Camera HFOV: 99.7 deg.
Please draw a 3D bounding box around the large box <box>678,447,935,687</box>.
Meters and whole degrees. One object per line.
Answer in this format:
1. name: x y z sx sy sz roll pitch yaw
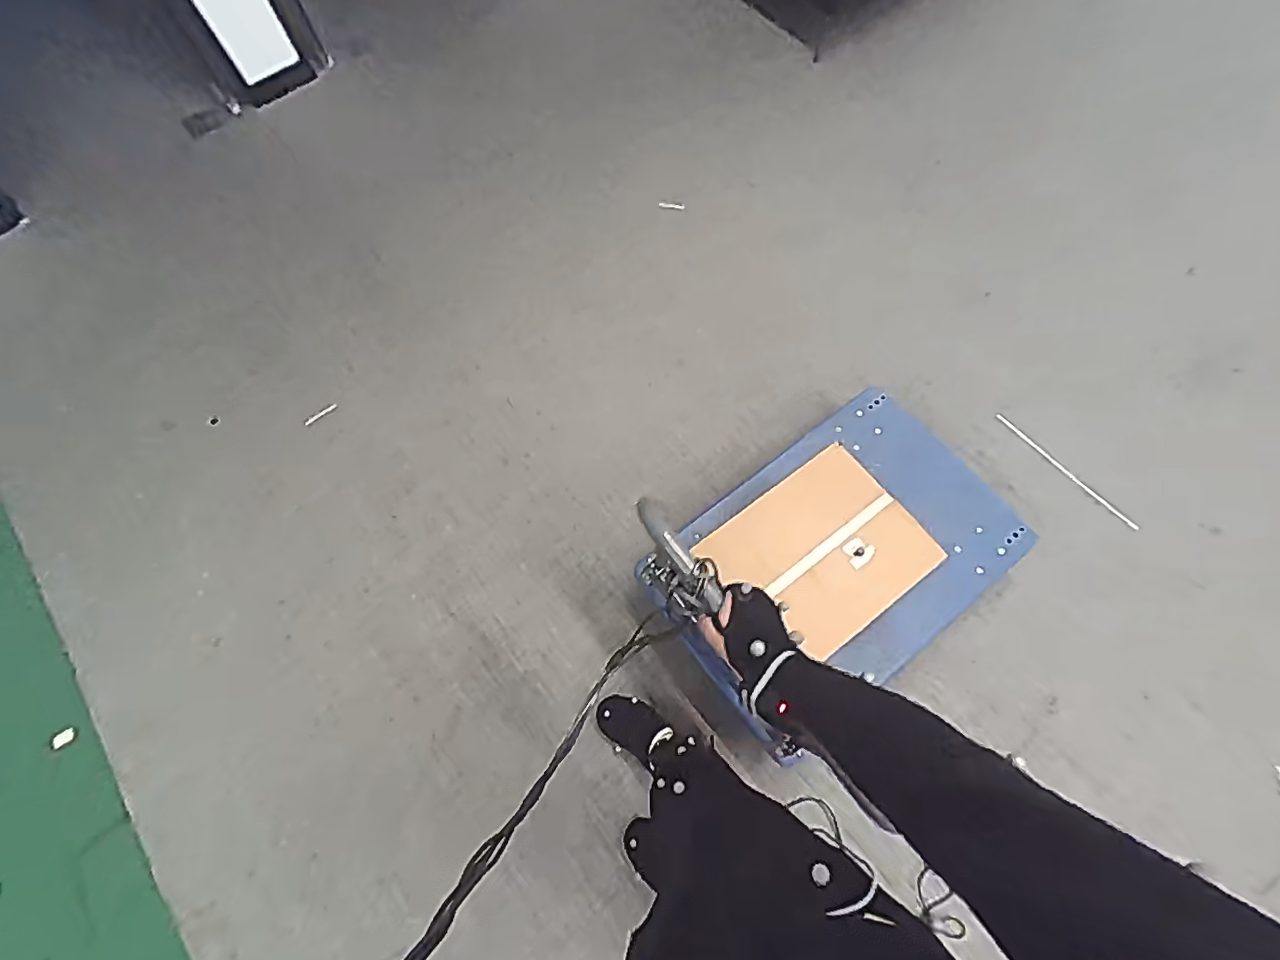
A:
1. large box: 0.336 0.207 1.201 0.408 0.320 0.320 -34 73 -12
